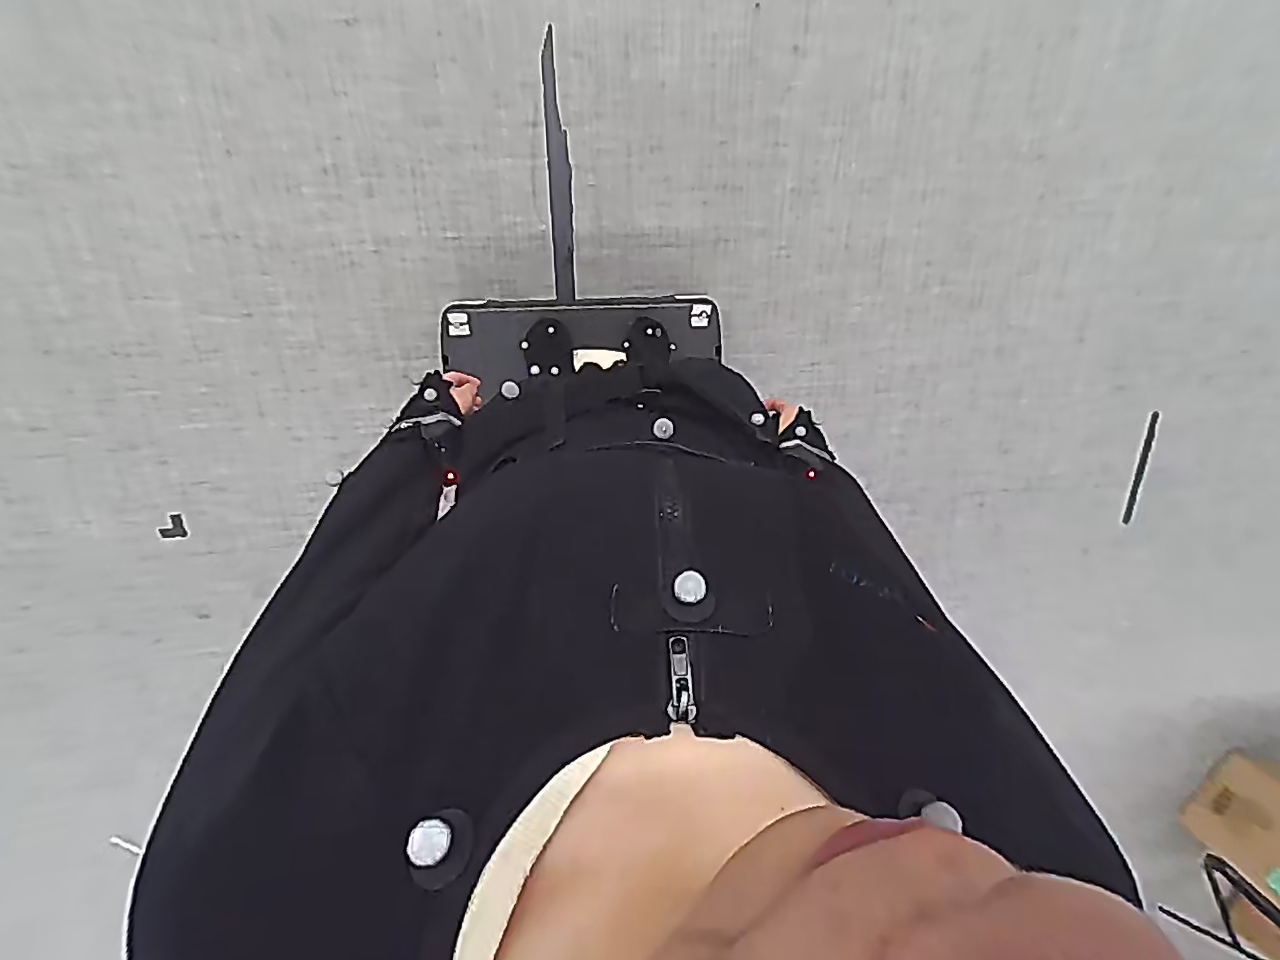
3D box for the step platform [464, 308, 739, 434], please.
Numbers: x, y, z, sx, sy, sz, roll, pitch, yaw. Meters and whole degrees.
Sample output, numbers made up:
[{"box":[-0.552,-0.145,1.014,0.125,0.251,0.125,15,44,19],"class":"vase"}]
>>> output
[{"box":[-0.094,-0.277,1.387,0.684,0.204,0.286,1,108,-7],"class":"step platform"}]
